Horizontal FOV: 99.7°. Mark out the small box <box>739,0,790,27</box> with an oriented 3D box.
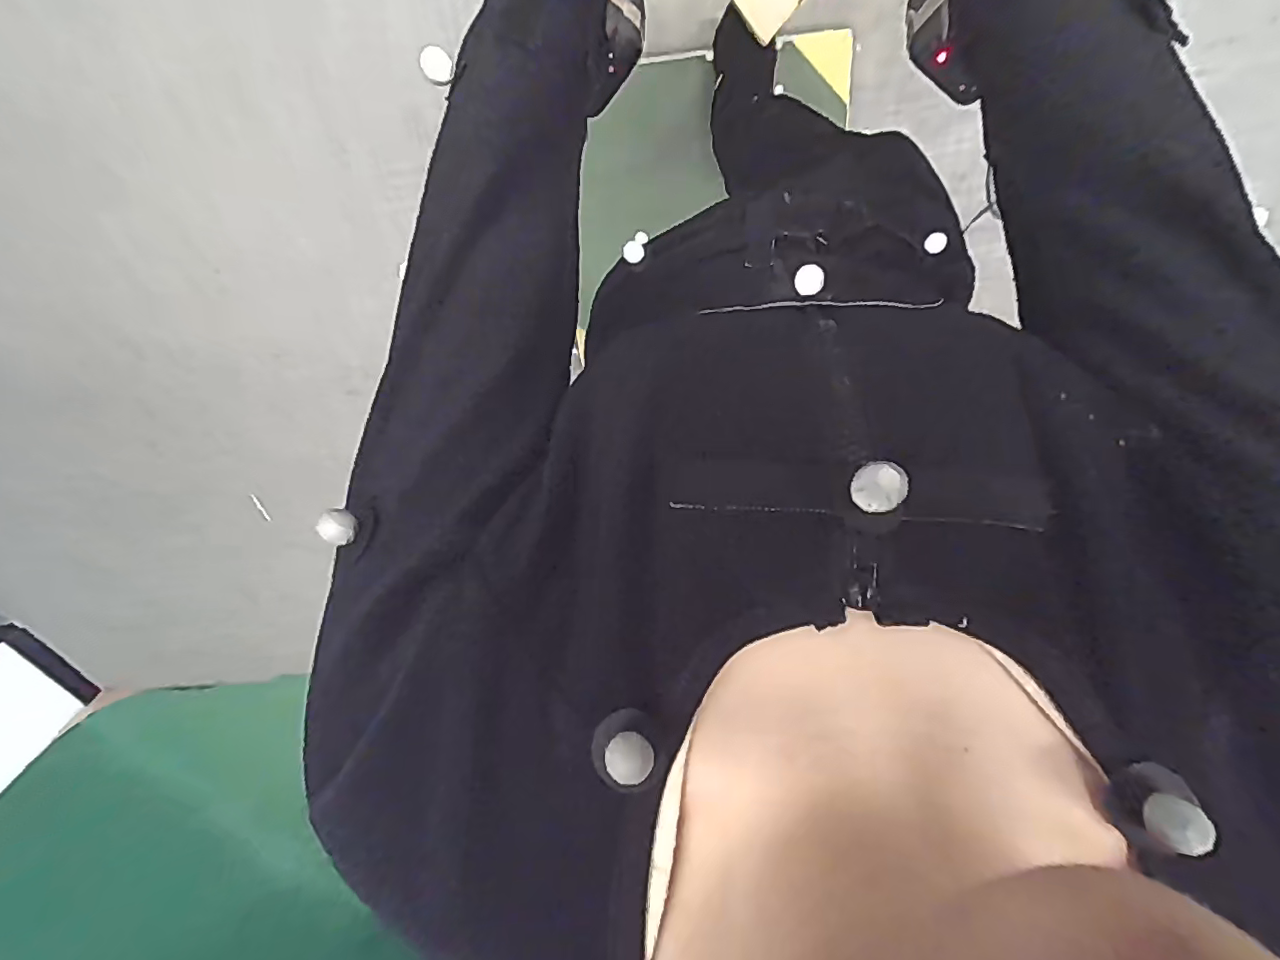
[{"bbox_3d":[0.093,-0.485,0.385,0.179,0.176,0.168,36,127,-28],"label":"small box"}]
